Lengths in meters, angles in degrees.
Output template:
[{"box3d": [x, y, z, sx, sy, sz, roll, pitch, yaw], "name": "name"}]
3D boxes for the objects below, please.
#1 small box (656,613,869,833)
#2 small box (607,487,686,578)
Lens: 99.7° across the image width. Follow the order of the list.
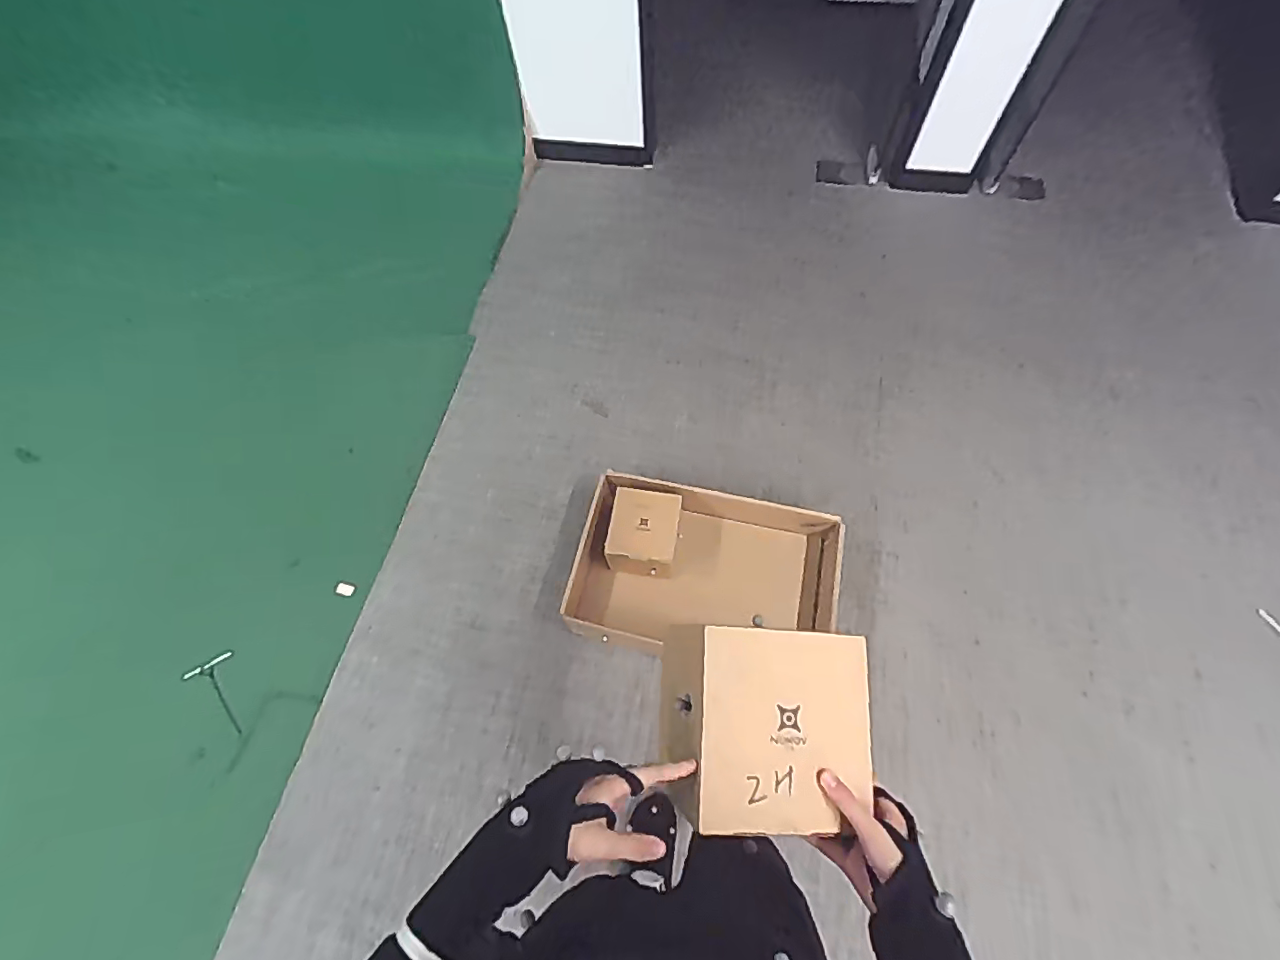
[{"box3d": [0.116, 0.240, 0.565, 0.168, 0.176, 0.179, 8, 73, -8], "name": "small box"}, {"box3d": [0.023, 0.140, 1.368, 0.168, 0.176, 0.179, 9, 67, 8], "name": "small box"}]
